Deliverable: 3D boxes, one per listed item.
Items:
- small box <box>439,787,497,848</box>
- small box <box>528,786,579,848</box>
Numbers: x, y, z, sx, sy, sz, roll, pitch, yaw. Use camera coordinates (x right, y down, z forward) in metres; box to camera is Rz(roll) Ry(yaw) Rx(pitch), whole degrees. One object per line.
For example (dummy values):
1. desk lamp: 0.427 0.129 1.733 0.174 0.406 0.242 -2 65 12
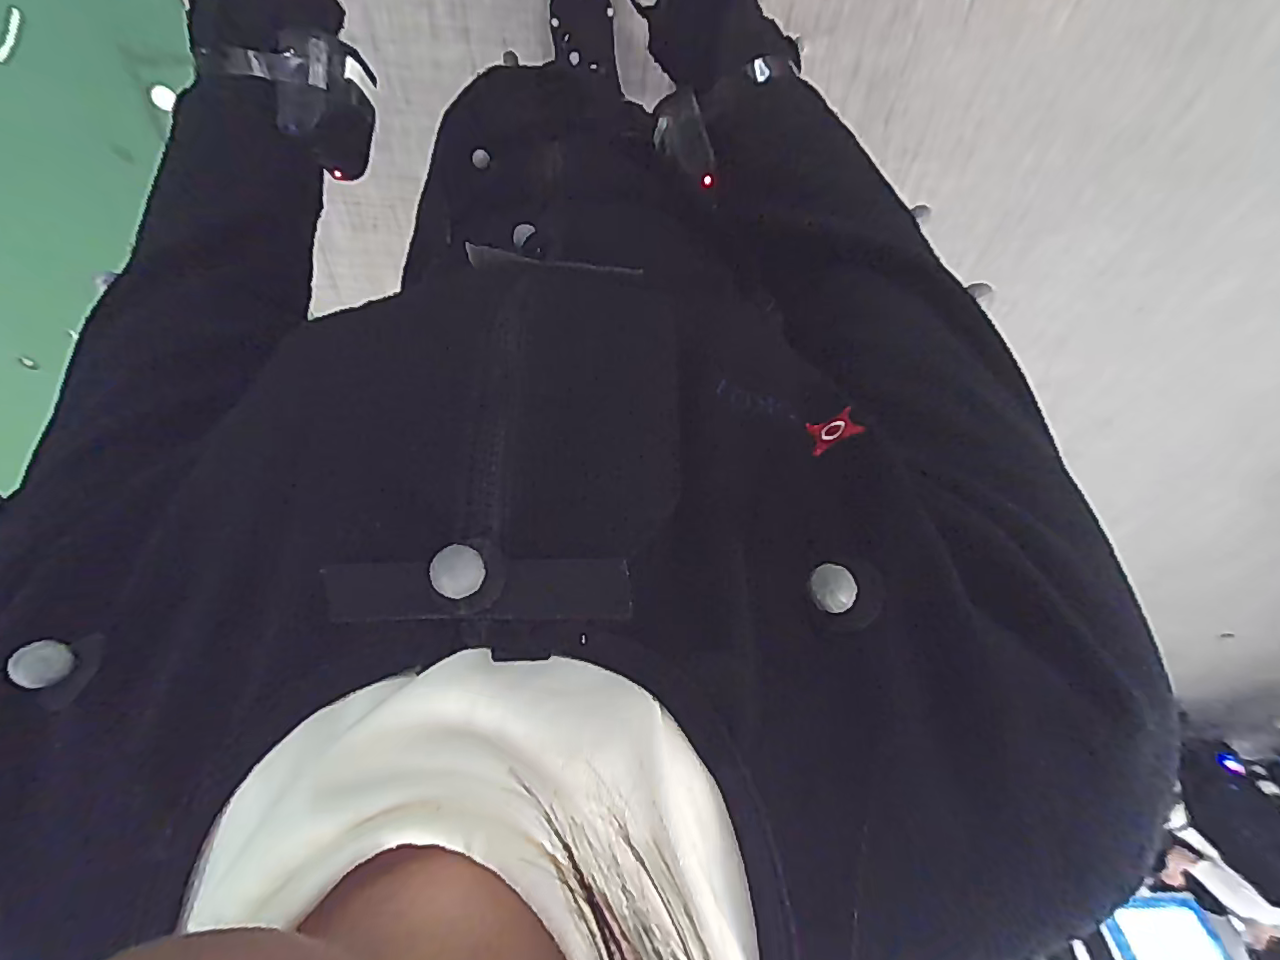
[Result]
1. small box: -0.636 1.264 2.023 0.168 0.176 0.179 2 137 -4
2. small box: -0.320 1.269 2.037 0.168 0.176 0.179 -2 136 -1
